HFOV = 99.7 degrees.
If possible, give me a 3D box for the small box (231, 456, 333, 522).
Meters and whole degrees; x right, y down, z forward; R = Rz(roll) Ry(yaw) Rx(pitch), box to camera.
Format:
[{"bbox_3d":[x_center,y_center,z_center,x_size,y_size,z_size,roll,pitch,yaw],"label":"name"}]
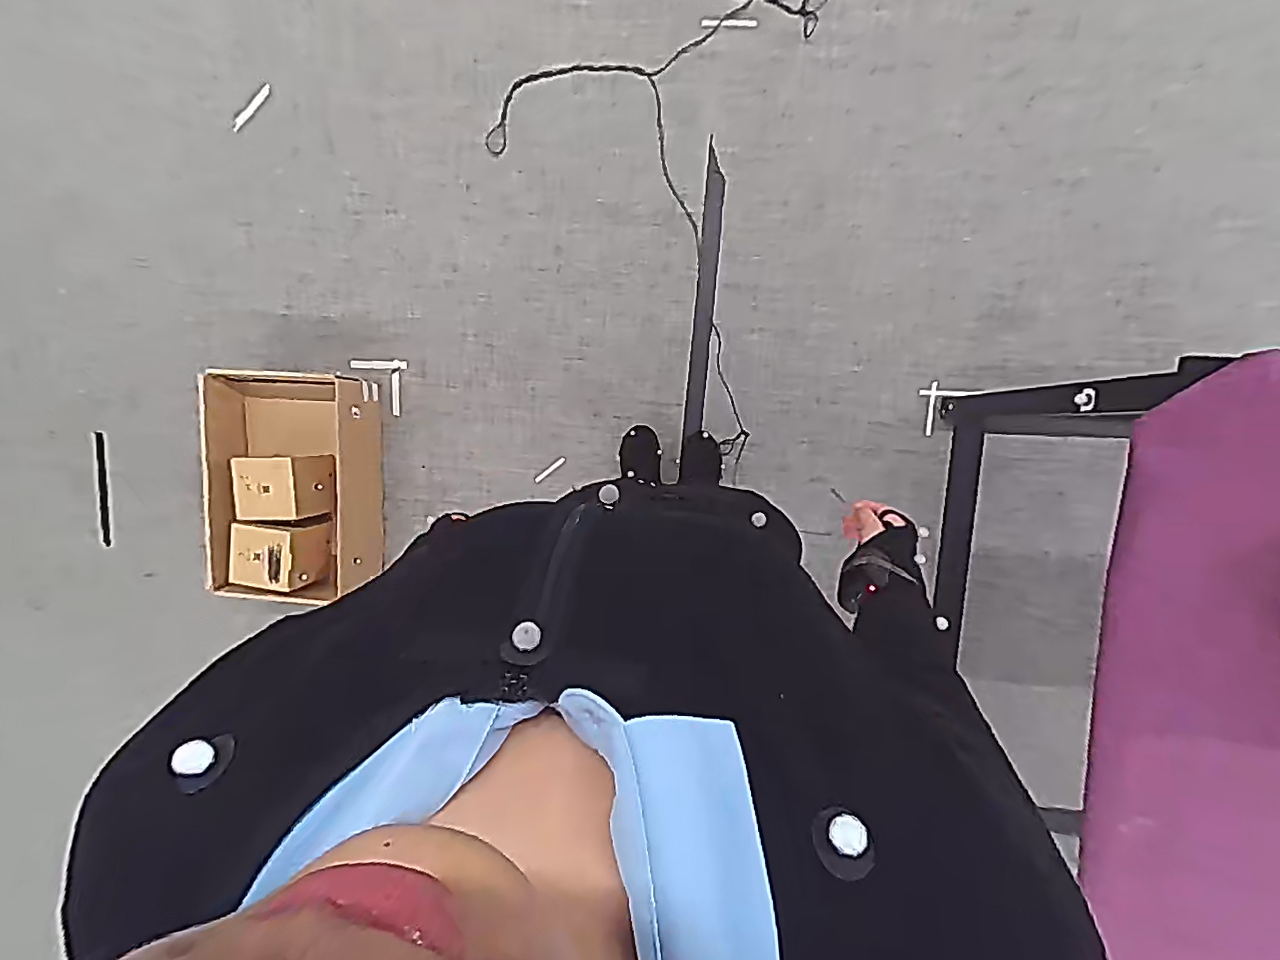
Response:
[{"bbox_3d":[-0.972,0.020,1.486,0.179,0.176,0.168,0,96,7],"label":"small box"}]
